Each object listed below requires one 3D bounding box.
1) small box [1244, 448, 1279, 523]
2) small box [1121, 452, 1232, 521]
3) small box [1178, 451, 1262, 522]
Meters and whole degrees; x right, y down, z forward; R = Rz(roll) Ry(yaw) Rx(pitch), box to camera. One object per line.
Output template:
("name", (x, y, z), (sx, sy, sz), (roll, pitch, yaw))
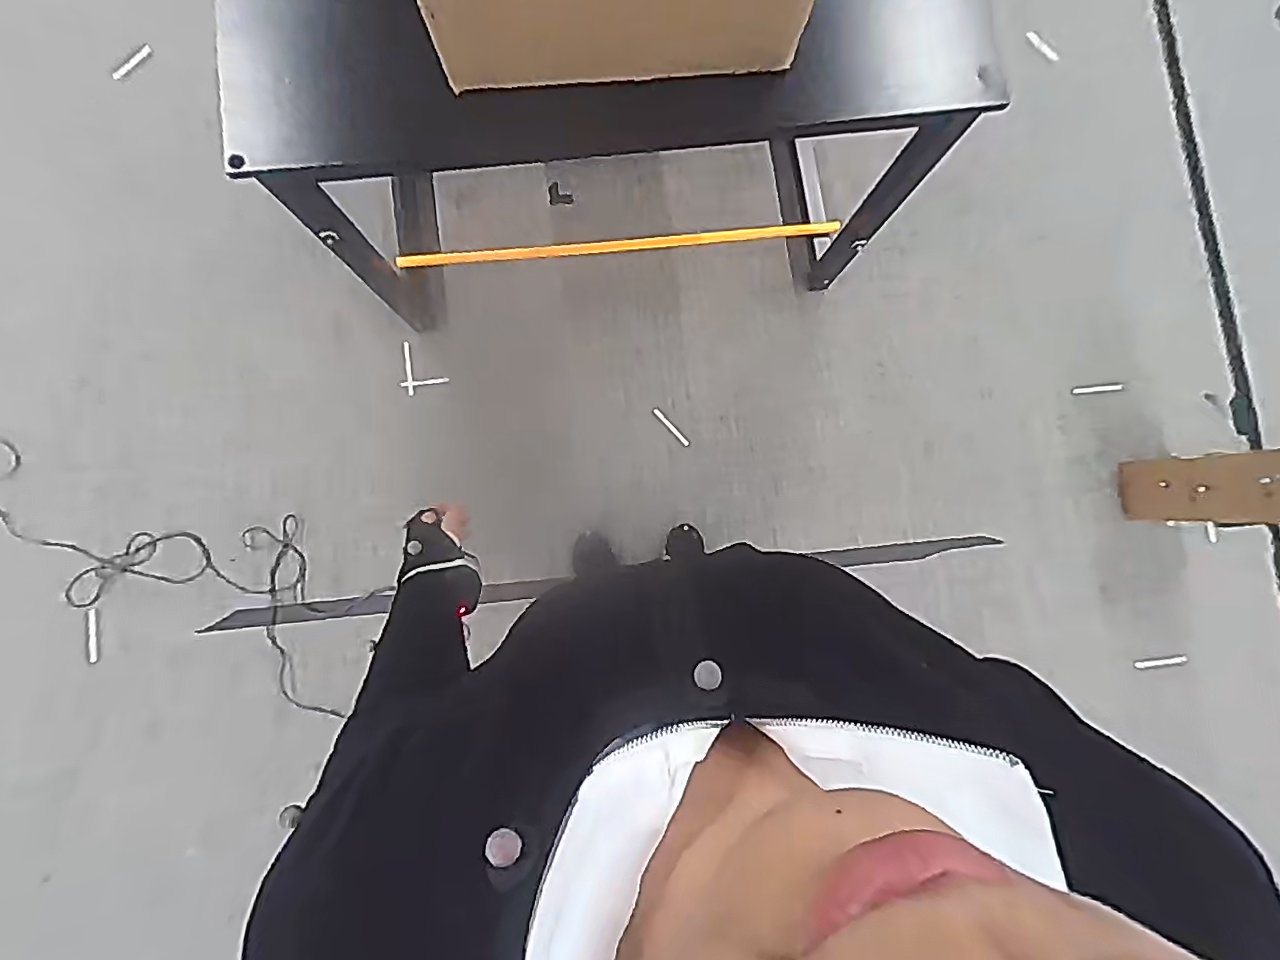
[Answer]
("small box", (1.494, 0.007, 1.173), (0.179, 0.176, 0.168), (-3, 85, -2))
("small box", (1.489, 0.022, 1.500), (0.168, 0.176, 0.179), (-3, 87, -2))
("small box", (1.501, 0.017, 1.336), (0.179, 0.176, 0.168), (-3, 86, -2))
